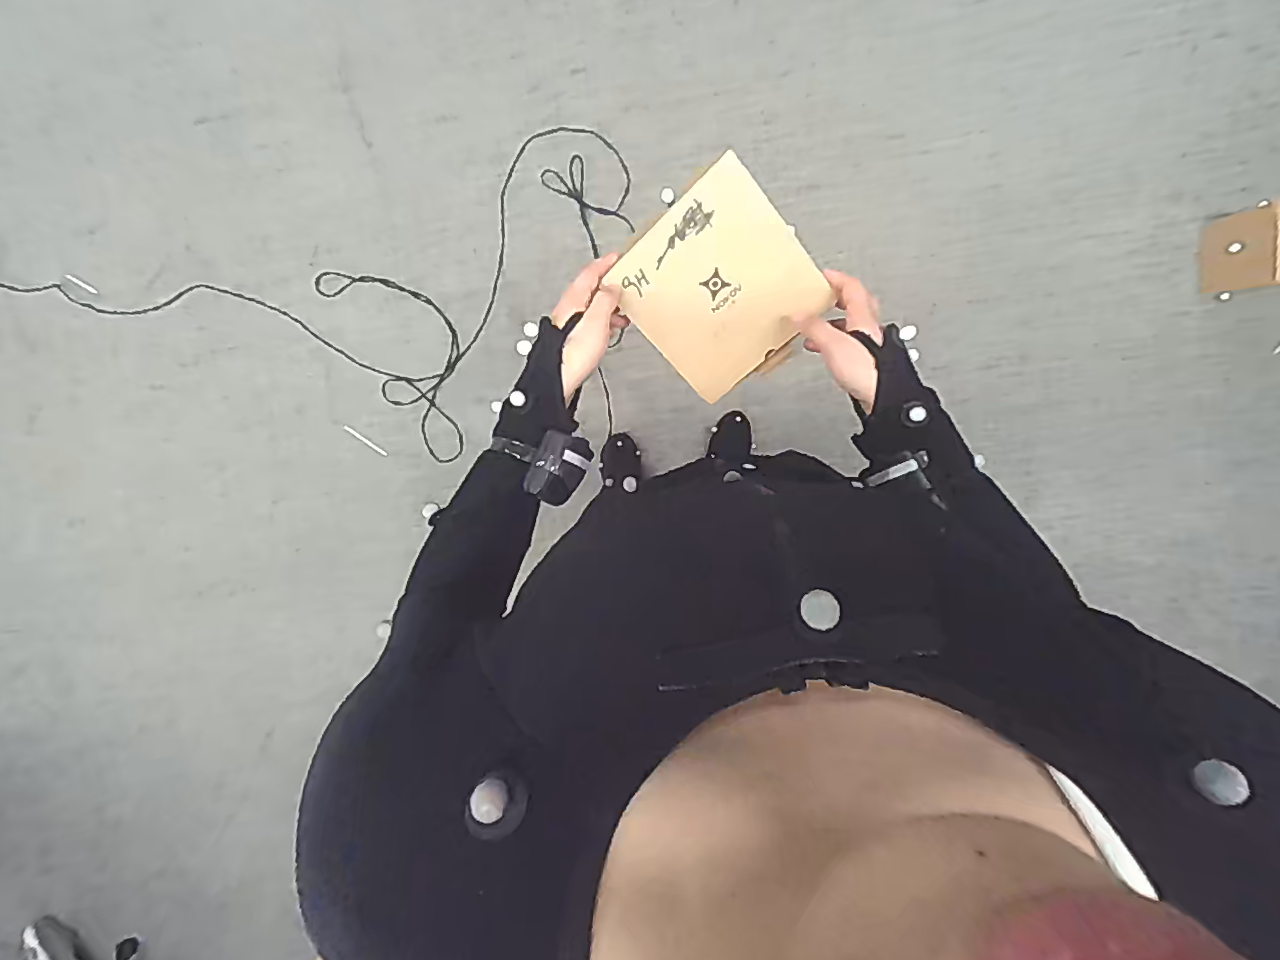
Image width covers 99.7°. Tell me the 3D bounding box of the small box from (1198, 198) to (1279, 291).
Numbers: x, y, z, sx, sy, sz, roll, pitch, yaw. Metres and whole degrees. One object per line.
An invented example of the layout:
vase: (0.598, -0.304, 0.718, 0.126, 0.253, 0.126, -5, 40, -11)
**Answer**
small box: (1.446, -0.540, 1.243, 0.168, 0.176, 0.179, -7, 99, 5)

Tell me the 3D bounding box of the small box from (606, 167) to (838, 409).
small box: (0.083, -0.217, 0.600, 0.168, 0.176, 0.179, -39, 113, 19)
